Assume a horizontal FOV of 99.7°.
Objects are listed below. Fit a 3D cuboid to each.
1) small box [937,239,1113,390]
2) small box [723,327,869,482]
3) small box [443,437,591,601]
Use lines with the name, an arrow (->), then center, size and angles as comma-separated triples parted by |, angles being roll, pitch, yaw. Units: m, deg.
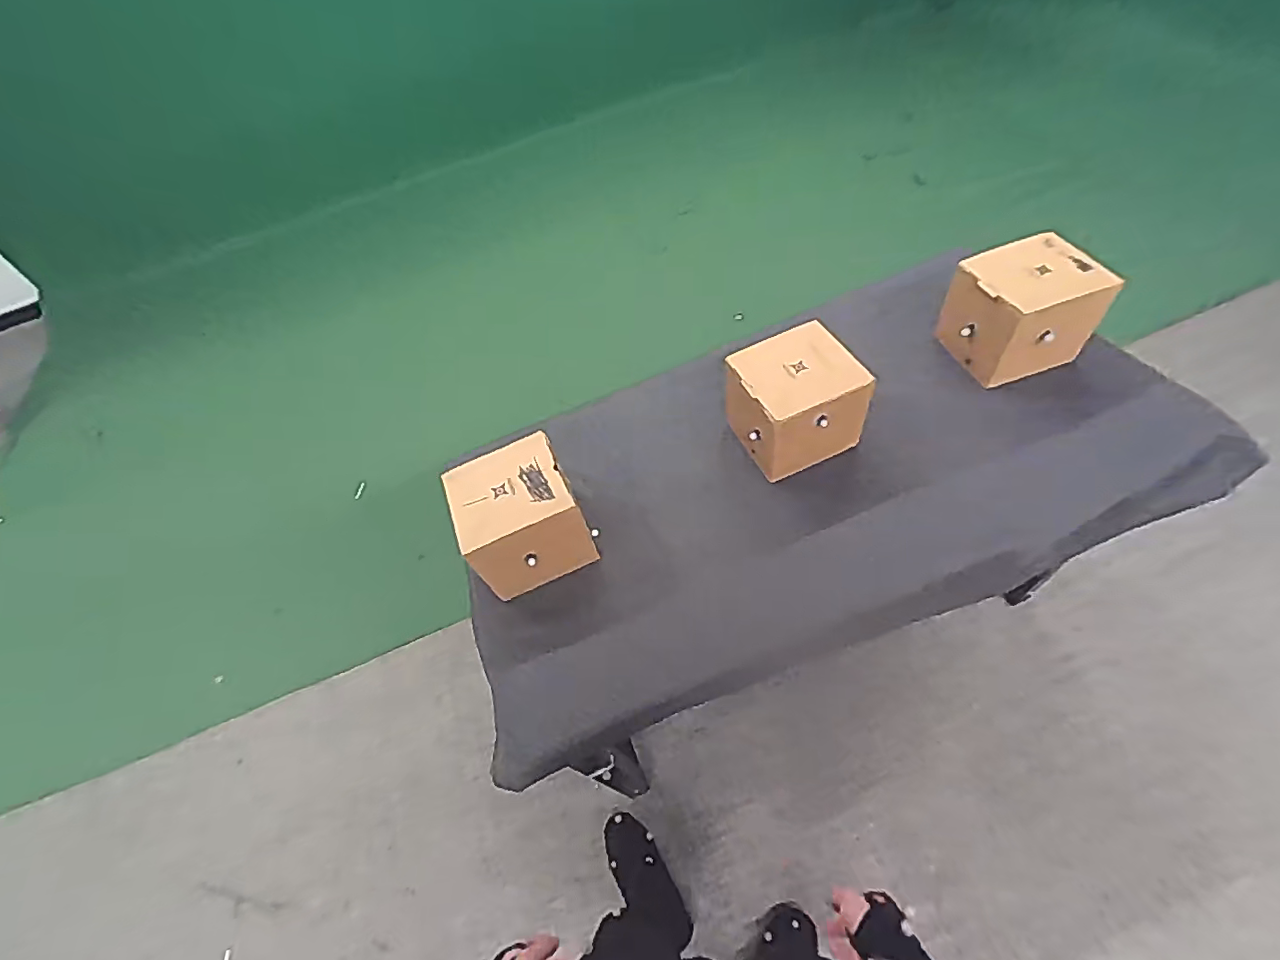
small box -> 0.661, -0.288, 0.962 | 0.179, 0.176, 0.168 | -19, 54, -2
small box -> 0.258, -0.124, 0.930 | 0.179, 0.176, 0.168 | -23, 55, -7
small box -> -0.190, 0.067, 0.878 | 0.179, 0.176, 0.168 | -24, 54, -6
